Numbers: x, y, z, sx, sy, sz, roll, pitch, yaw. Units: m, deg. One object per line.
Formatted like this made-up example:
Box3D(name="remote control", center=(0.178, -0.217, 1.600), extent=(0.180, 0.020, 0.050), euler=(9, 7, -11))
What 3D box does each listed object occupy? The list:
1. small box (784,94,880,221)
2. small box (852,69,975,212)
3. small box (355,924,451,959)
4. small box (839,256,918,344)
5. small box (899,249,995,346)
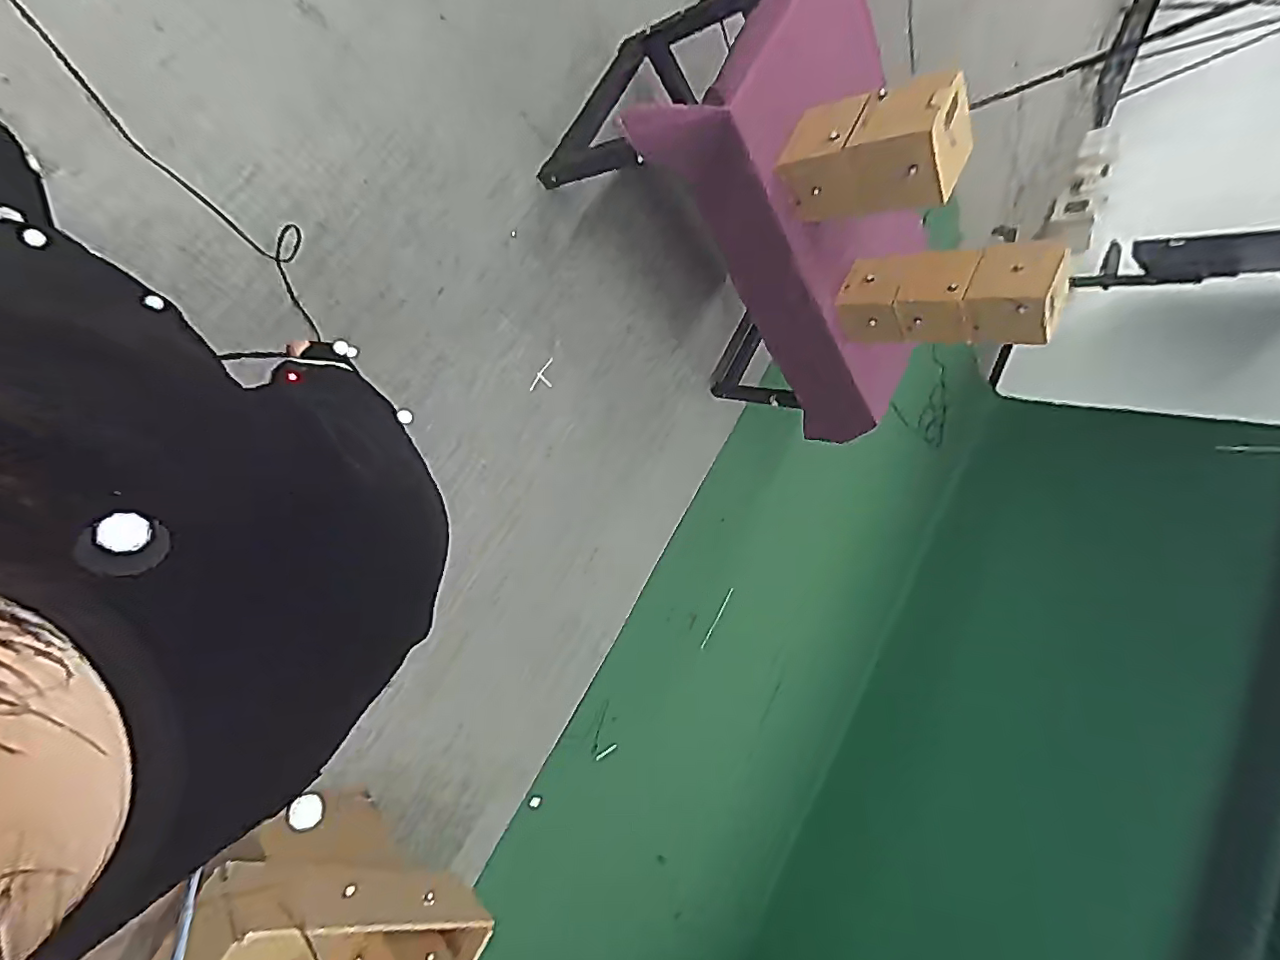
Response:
Box3D(name="small box", center=(0.447, -0.717, 1.226), extent=(0.168, 0.176, 0.179), euler=(40, 73, -44))
Box3D(name="small box", center=(0.559, -0.681, 1.110), extent=(0.179, 0.176, 0.168), euler=(39, 75, -45))
Box3D(name="small box", center=(-0.530, 1.121, 1.189), extent=(0.168, 0.176, 0.179), euler=(-58, 135, -16))
Box3D(name="small box", center=(0.691, -0.503, 1.534), extent=(0.179, 0.176, 0.168), euler=(38, 76, -43))
Box3D(name="small box", center=(0.805, -0.477, 1.419), extent=(0.168, 0.176, 0.179), euler=(40, 74, -44))
